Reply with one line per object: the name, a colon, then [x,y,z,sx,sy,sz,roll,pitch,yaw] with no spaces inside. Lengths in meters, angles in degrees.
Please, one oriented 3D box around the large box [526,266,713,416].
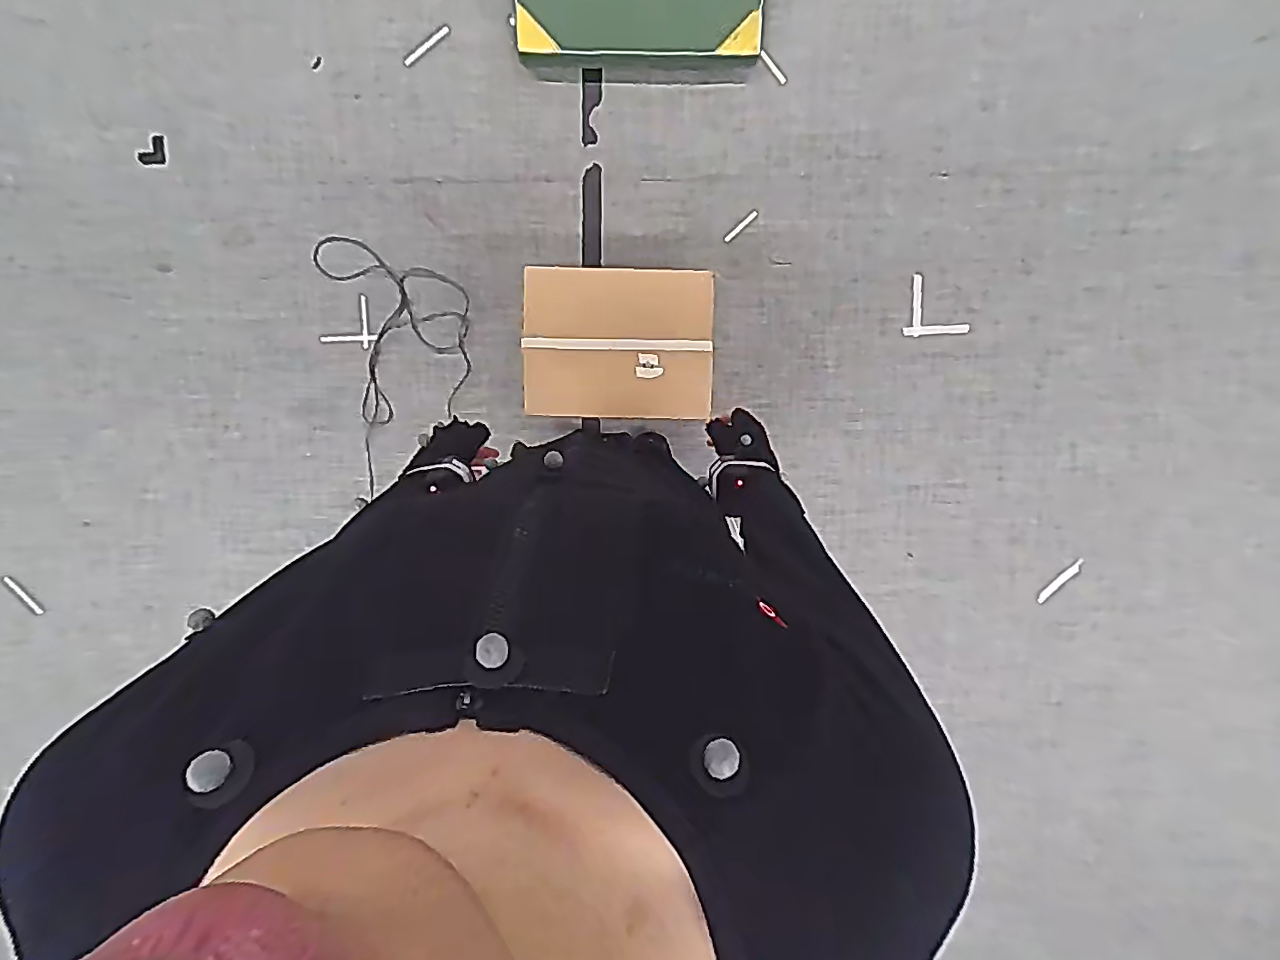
large box: [-0.048,-0.314,1.311,0.408,0.320,0.320,1,97,-1]
